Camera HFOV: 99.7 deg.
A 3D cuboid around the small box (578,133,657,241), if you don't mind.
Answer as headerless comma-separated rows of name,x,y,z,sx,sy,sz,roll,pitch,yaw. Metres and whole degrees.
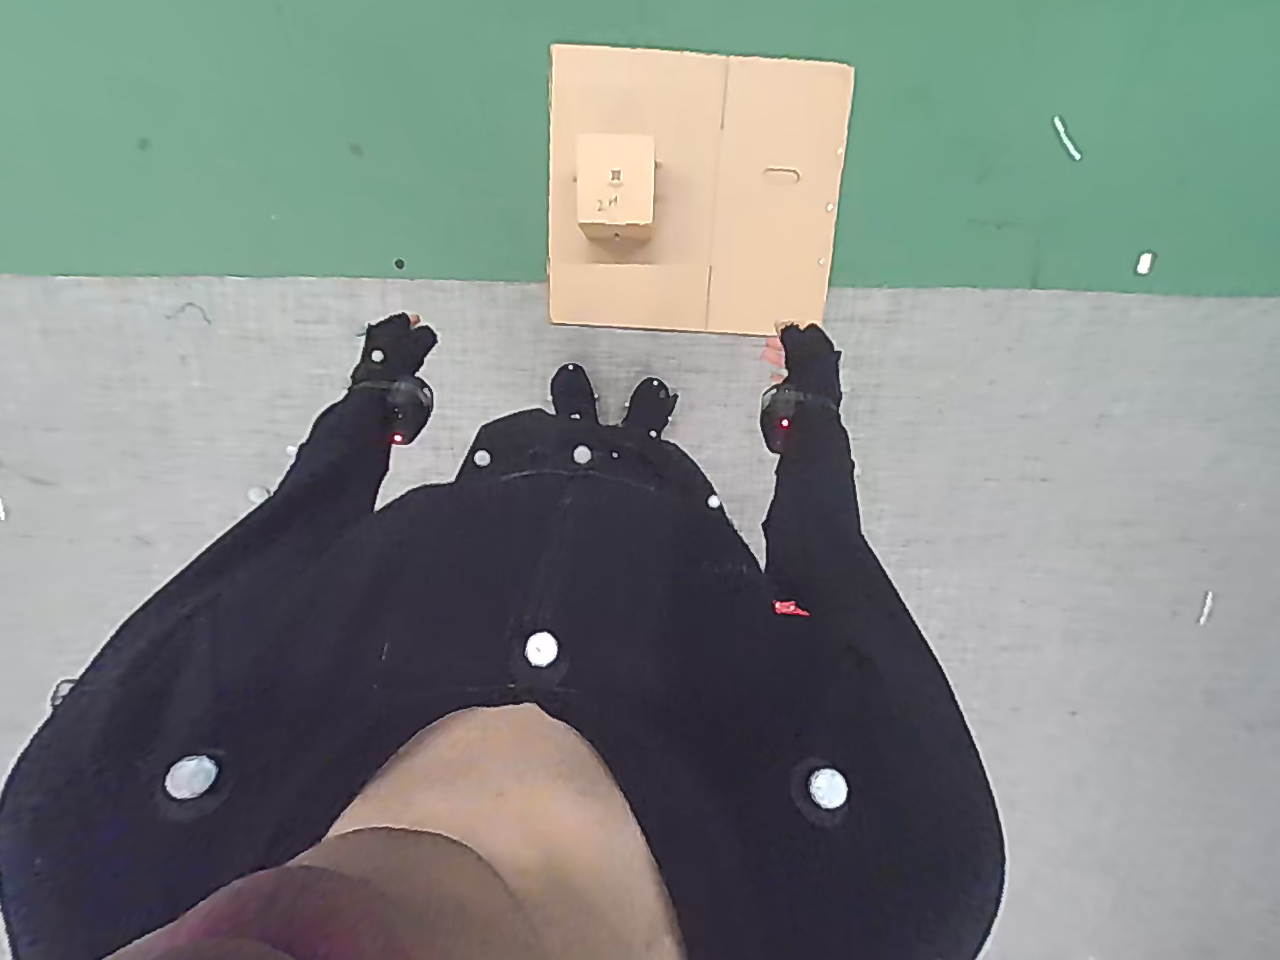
small box,-0.049,-0.650,1.215,0.168,0.176,0.179,2,104,1
